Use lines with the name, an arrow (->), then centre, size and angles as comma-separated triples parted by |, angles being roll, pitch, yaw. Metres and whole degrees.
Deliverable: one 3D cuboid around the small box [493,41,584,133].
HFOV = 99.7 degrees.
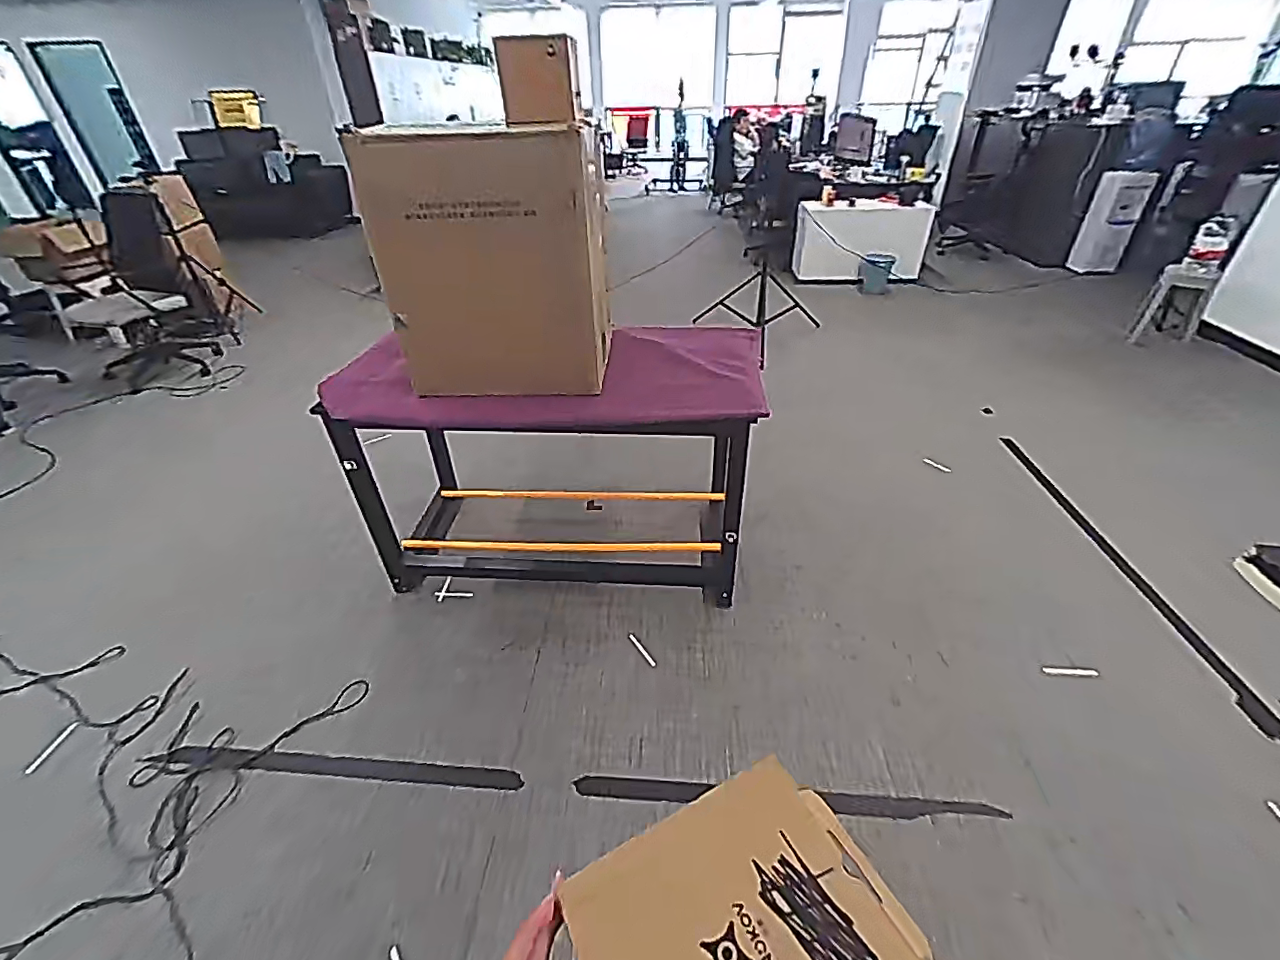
small box -> -0.239, -0.952, 1.319 | 0.179, 0.176, 0.168 | 0, 35, 3
